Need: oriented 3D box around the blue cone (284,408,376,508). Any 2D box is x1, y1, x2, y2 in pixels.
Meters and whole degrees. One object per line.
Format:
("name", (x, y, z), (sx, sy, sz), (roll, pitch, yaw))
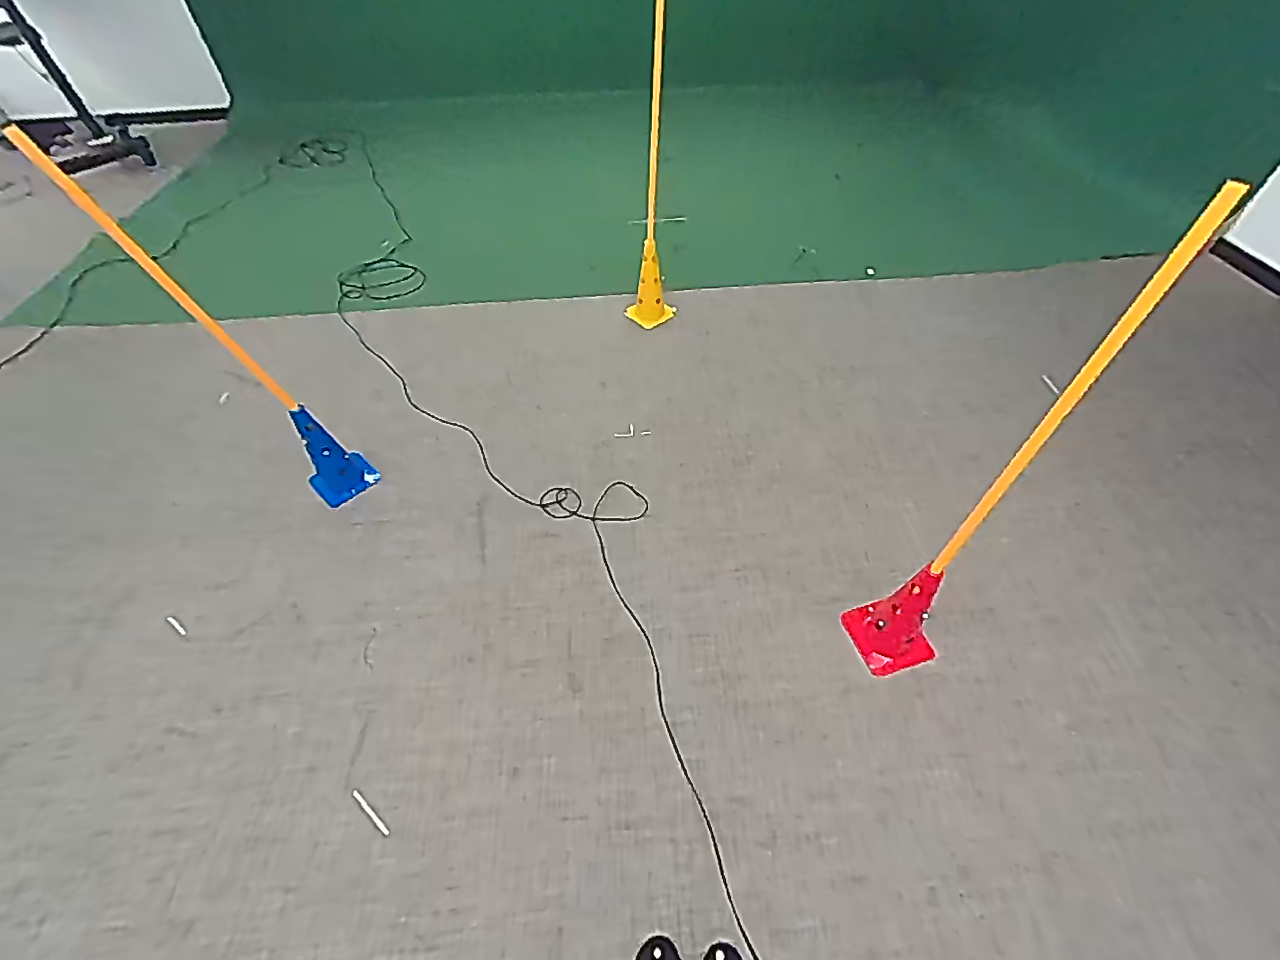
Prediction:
("blue cone", (-1.078, -0.094, 1.824), (0.192, 0.380, 0.193), (34, 61, 25))
